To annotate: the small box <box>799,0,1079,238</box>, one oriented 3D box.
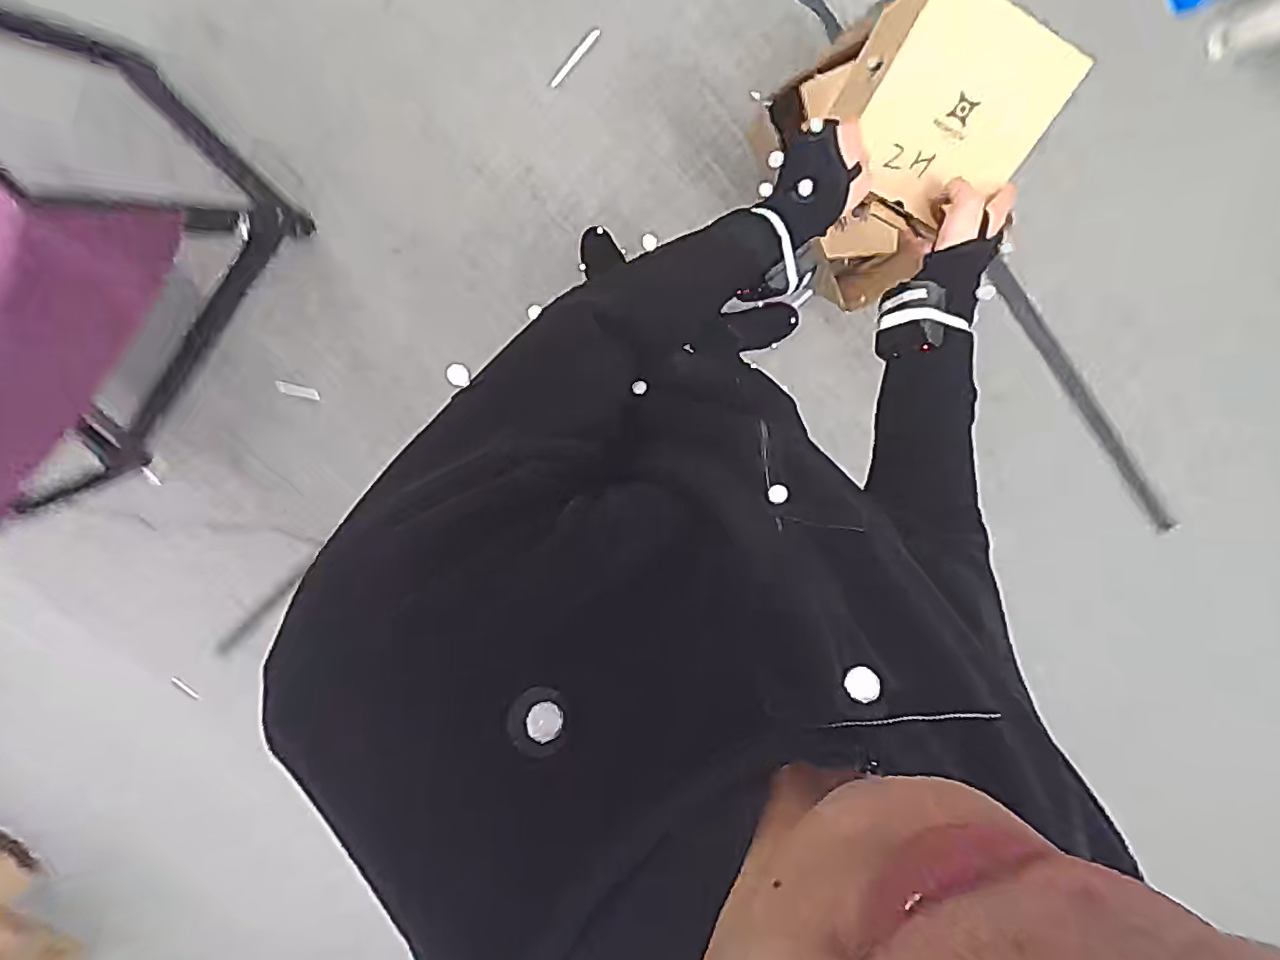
[{"bbox_3d":[0.293,-0.391,0.582,0.168,0.176,0.179,23,119,-9],"label":"small box"}]
